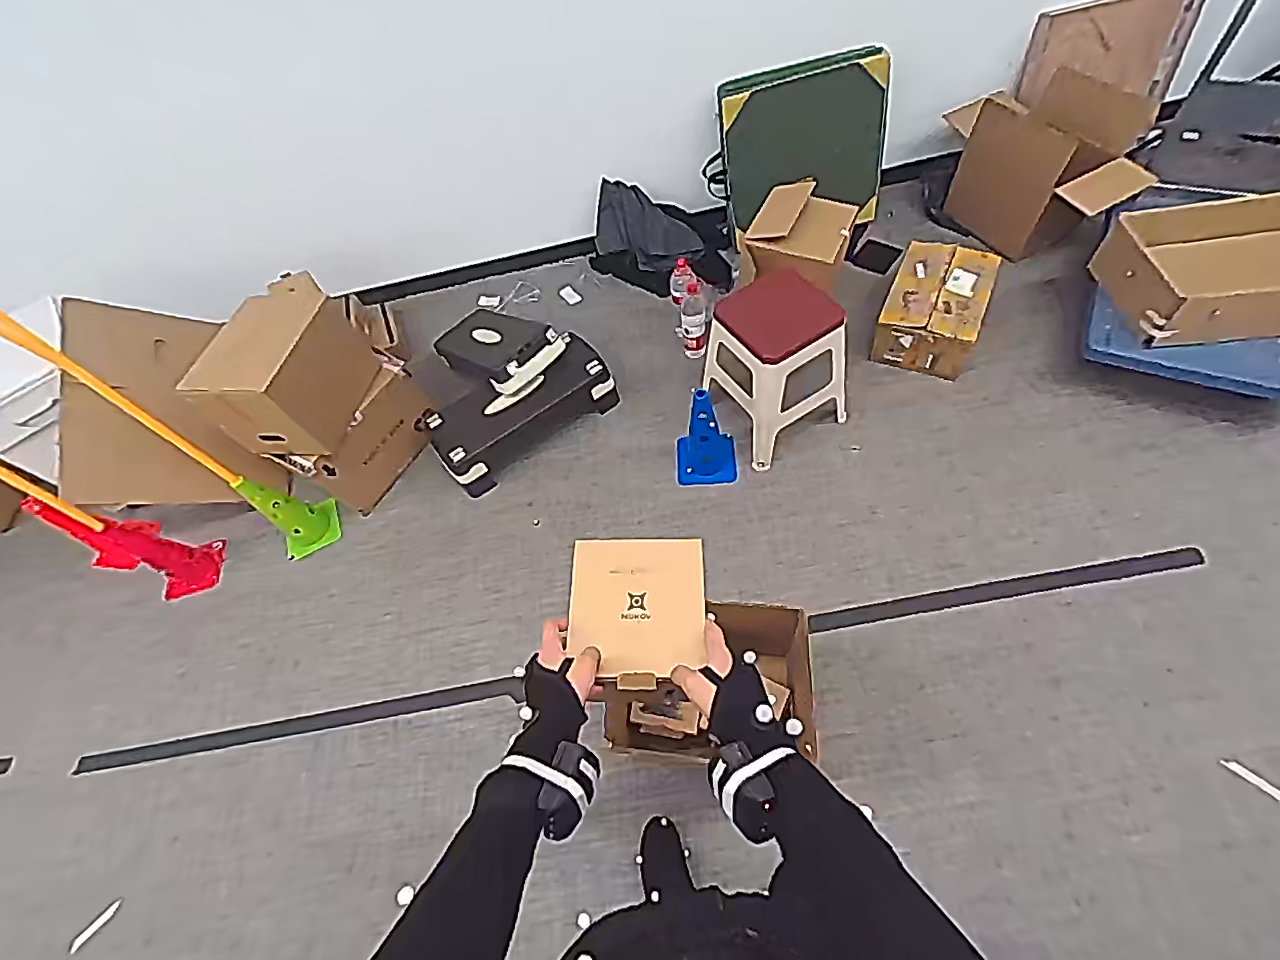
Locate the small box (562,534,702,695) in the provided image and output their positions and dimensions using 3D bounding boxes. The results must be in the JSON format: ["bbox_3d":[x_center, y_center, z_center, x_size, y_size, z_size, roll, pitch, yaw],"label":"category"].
[{"bbox_3d":[-0.001,0.186,0.724,0.168,0.176,0.179,0,60,3],"label":"small box"}]
